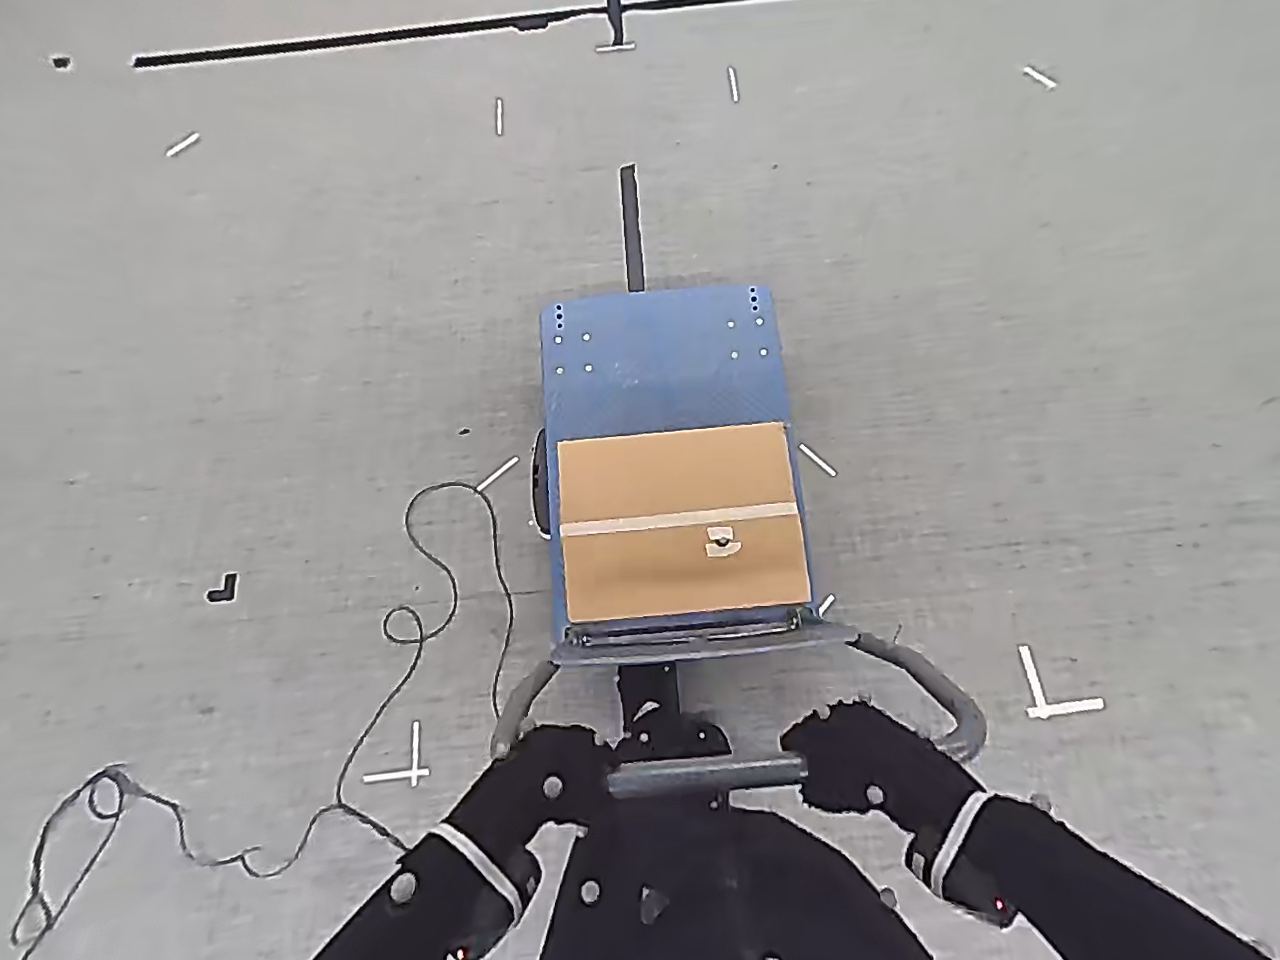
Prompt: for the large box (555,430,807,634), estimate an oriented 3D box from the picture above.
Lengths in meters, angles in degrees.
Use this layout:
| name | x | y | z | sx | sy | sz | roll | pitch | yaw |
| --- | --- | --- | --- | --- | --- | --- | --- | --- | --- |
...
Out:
| name | x | y | z | sx | sy | sz | roll | pitch | yaw |
| --- | --- | --- | --- | --- | --- | --- | --- | --- | --- |
| large box | 0.064 | 0.112 | 1.059 | 0.408 | 0.320 | 0.320 | -6 | 79 | -1 |
